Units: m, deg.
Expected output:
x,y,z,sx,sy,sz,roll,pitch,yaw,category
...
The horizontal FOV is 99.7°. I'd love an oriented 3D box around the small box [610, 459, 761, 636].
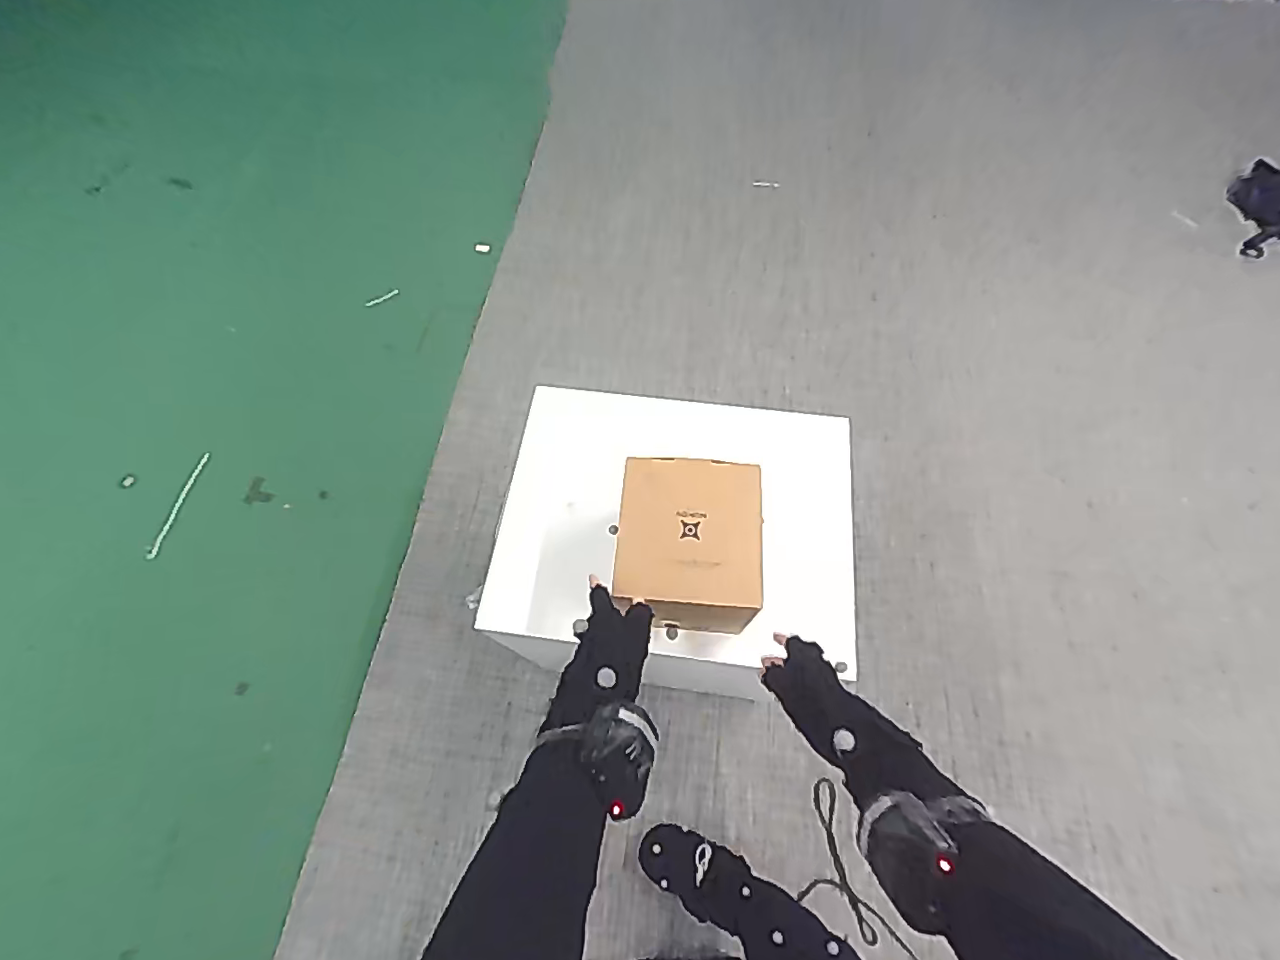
x,y,z,sx,sy,sz,roll,pitch,yaw,category
0.057,0.090,0.683,0.168,0.176,0.179,2,66,5,small box
